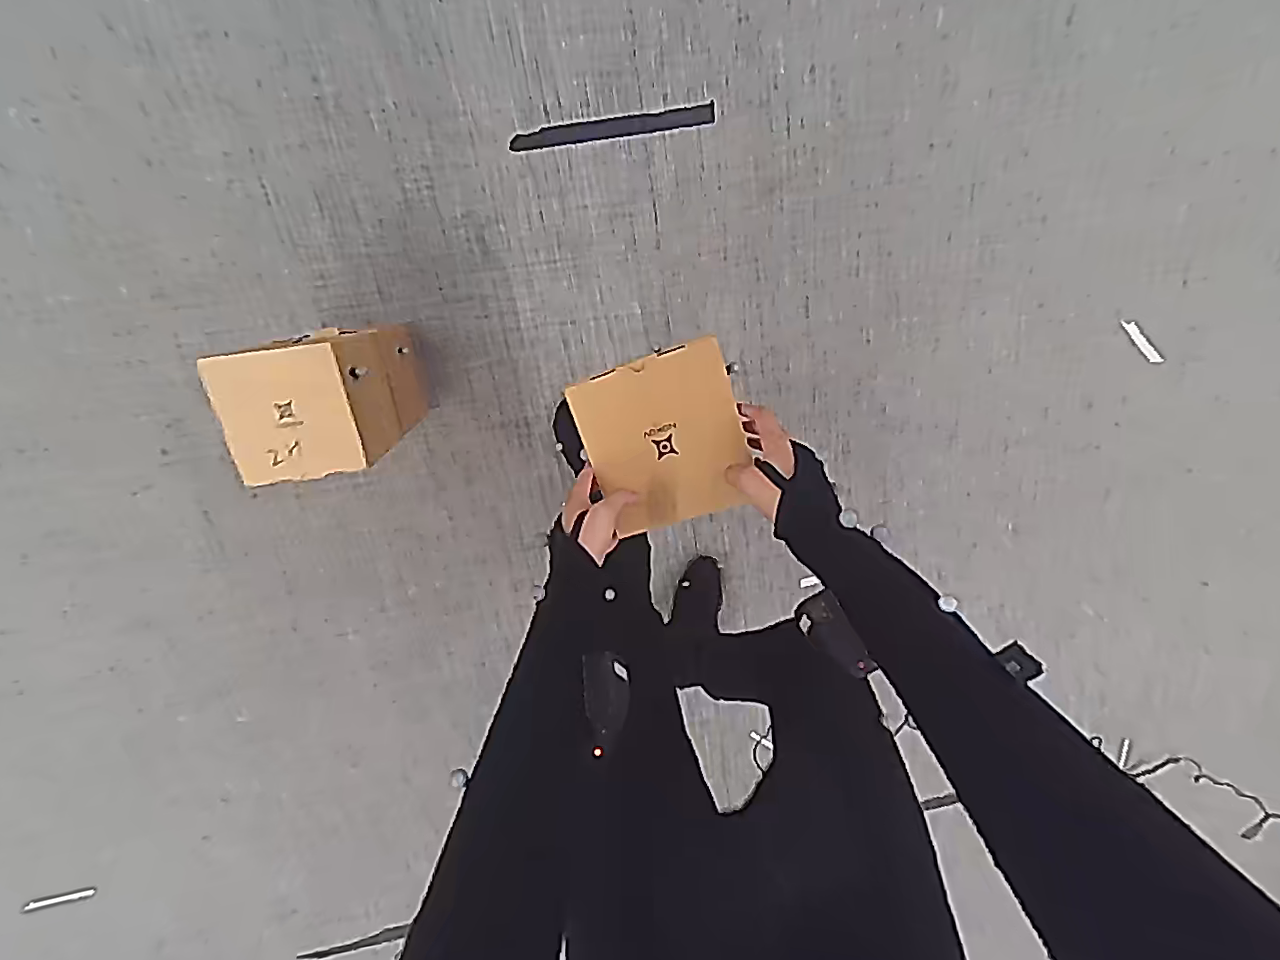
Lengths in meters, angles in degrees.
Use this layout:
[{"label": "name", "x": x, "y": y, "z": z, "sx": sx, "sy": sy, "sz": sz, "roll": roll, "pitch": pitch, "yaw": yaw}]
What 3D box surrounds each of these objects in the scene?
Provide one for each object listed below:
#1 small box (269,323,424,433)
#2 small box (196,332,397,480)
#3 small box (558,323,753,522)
[{"label": "small box", "x": -0.491, "y": -0.175, "z": 0.934, "sx": 0.168, "sy": 0.176, "sz": 0.179, "roll": -8, "pitch": 110, "yaw": -5}, {"label": "small box", "x": -0.475, "y": -0.116, "z": 0.781, "sx": 0.168, "sy": 0.176, "sz": 0.179, "roll": -8, "pitch": 111, "yaw": -5}, {"label": "small box", "x": 0.027, "y": -0.075, "z": 0.643, "sx": 0.168, "sy": 0.176, "sz": 0.179, "roll": -18, "pitch": 101, "yaw": 11}]
